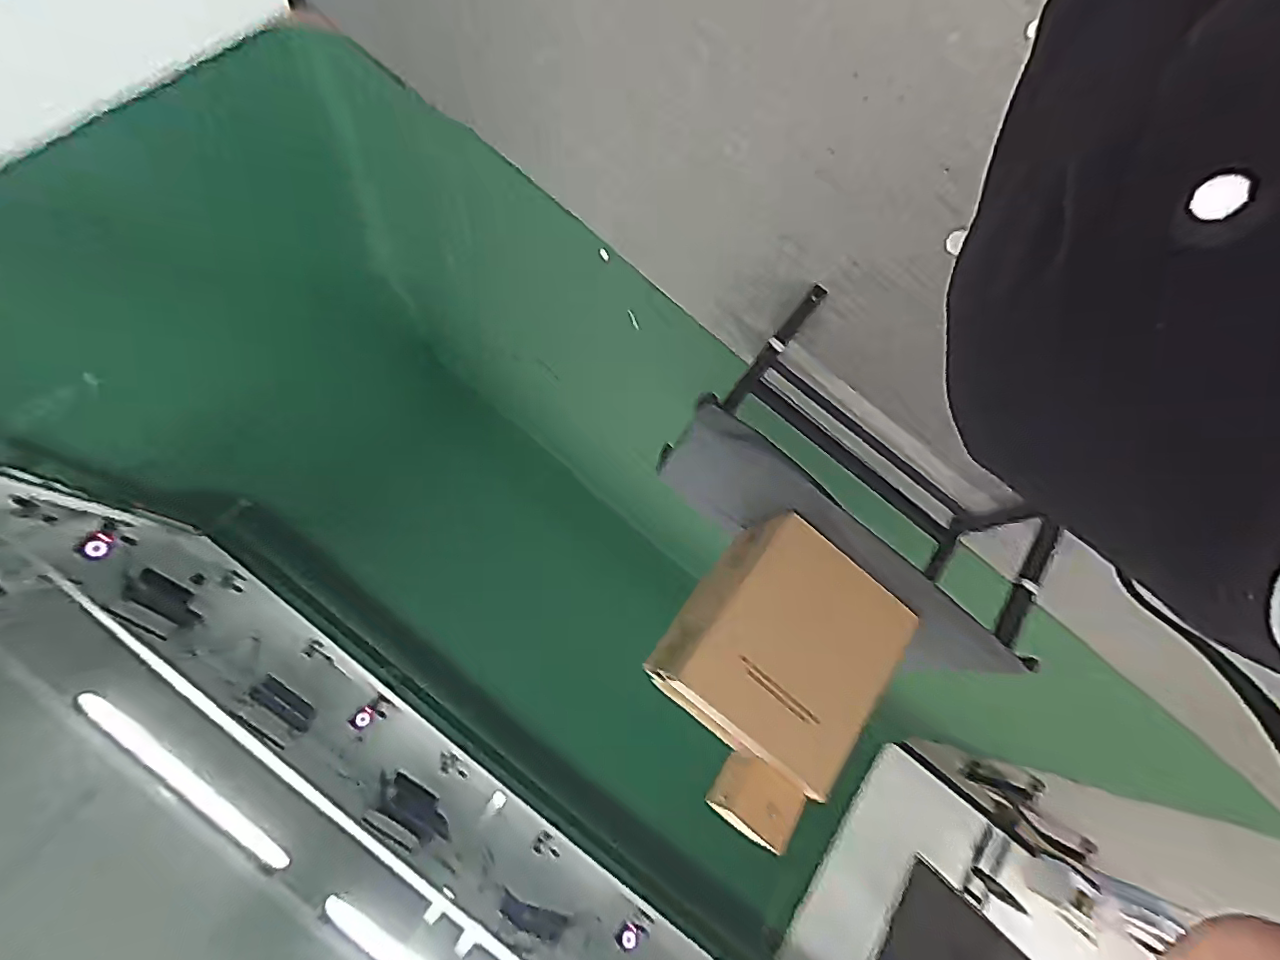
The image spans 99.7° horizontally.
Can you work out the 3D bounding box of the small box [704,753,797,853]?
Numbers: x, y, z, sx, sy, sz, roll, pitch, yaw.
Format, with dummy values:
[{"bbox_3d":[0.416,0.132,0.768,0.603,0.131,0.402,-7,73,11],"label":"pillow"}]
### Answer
[{"bbox_3d":[0.326,0.936,1.580,0.179,0.176,0.168,41,152,-2],"label":"small box"}]
